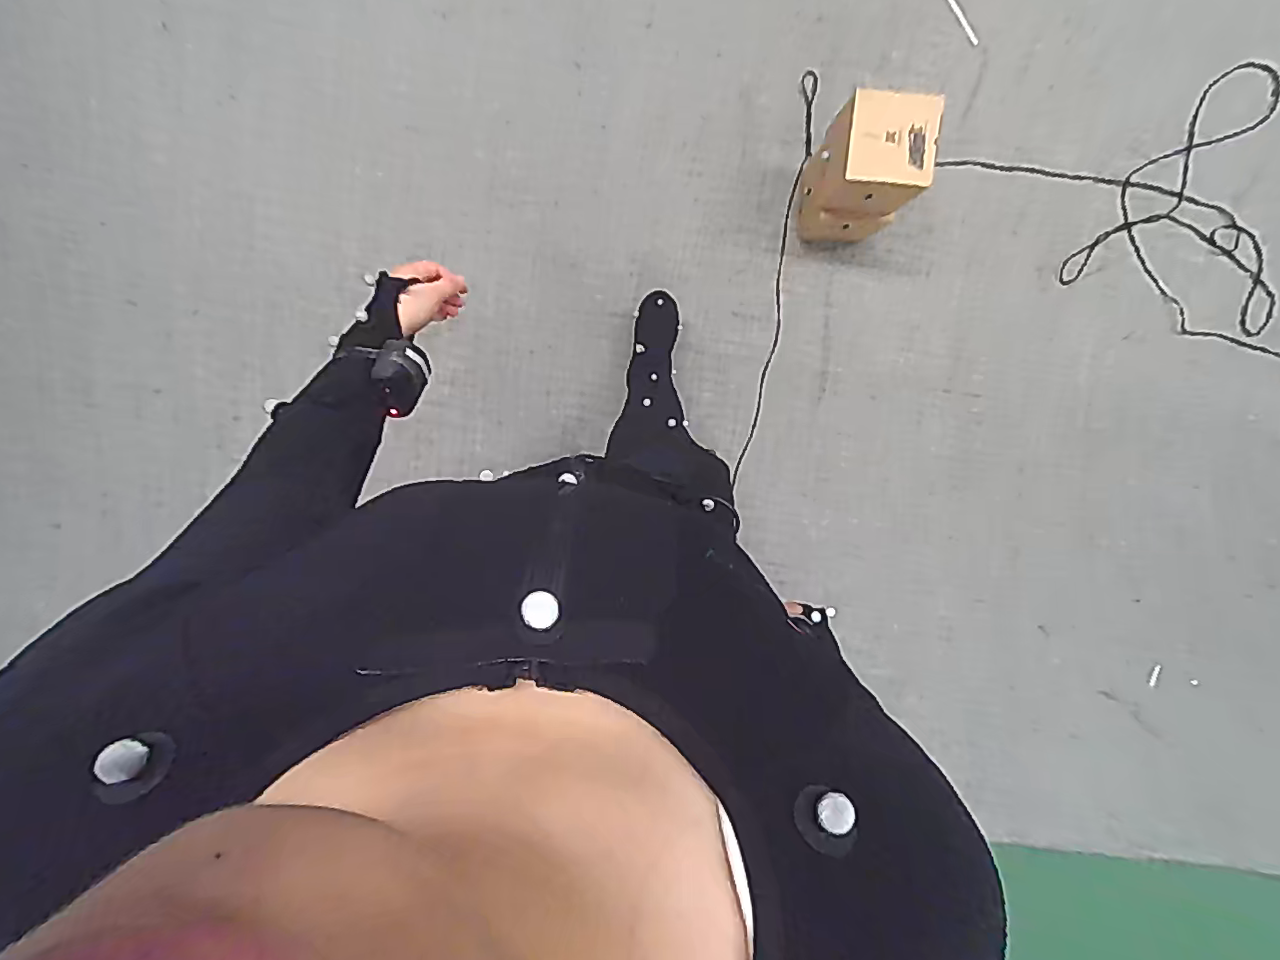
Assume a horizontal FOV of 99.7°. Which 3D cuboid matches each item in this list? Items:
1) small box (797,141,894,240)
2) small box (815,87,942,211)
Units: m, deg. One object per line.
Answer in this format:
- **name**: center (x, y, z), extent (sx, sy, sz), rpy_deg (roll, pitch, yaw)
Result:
- **small box**: center (0.484, -0.680, 1.284), extent (0.179, 0.176, 0.168), rpy_deg (0, 99, -1)
- **small box**: center (0.484, -0.673, 1.119), extent (0.179, 0.176, 0.168), rpy_deg (4, 98, 0)
